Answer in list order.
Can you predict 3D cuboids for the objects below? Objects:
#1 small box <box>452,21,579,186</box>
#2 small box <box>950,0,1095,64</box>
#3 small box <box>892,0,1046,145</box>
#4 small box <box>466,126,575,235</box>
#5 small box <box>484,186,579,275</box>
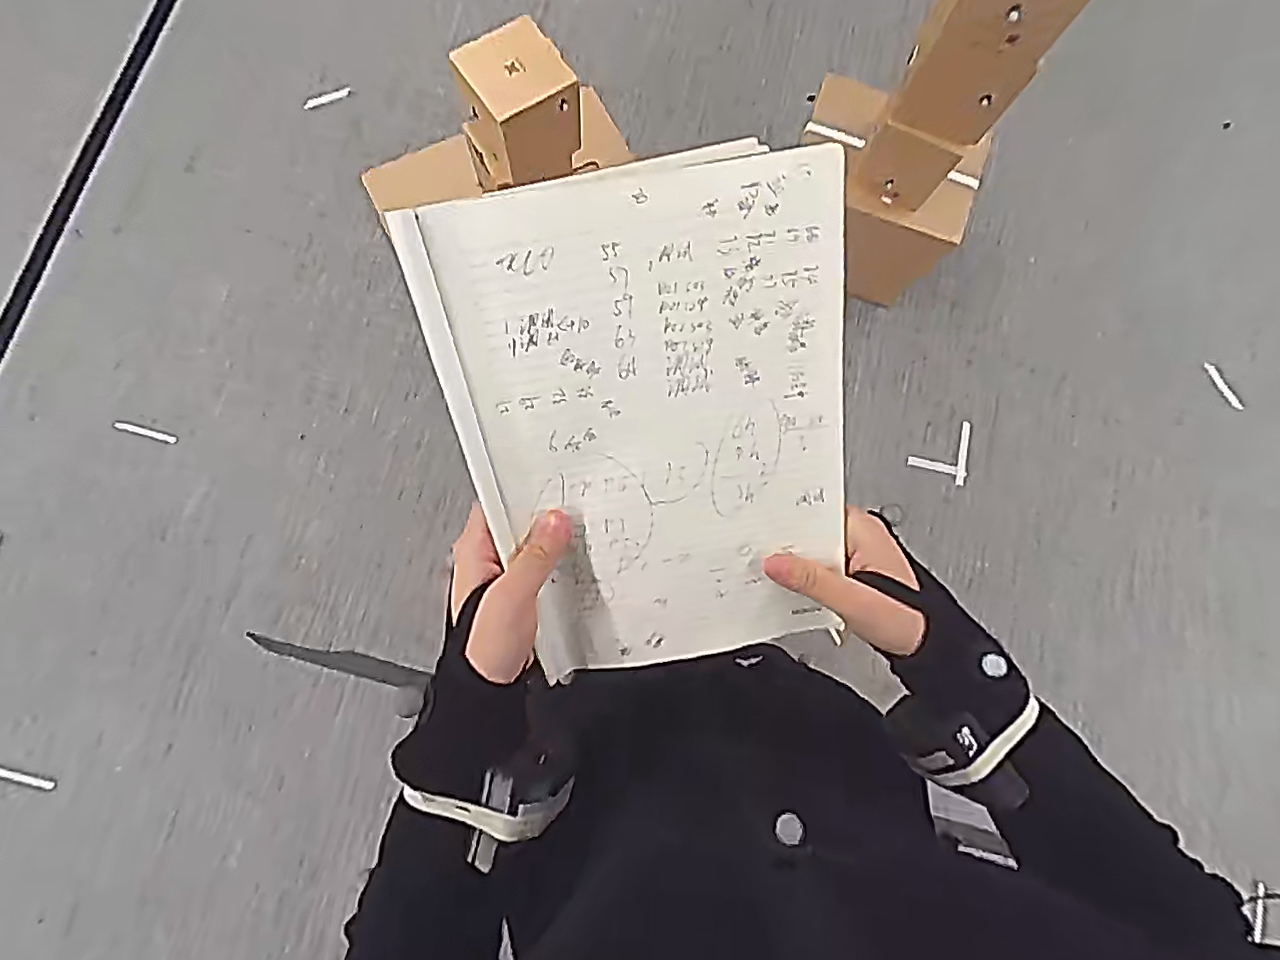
[{"bbox_3d":[-0.229,-0.719,1.053,0.179,0.176,0.168,-35,85,-10],"label":"small box"},{"bbox_3d":[0.597,-0.782,0.802,0.168,0.176,0.179,20,80,1],"label":"small box"},{"bbox_3d":[0.587,-0.742,0.962,0.179,0.176,0.168,18,79,1],"label":"small box"},{"bbox_3d":[-0.258,-0.688,1.210,0.179,0.176,0.168,-28,84,-9],"label":"small box"},{"bbox_3d":[-0.269,-0.661,1.372,0.179,0.176,0.168,-29,84,-9],"label":"small box"}]
